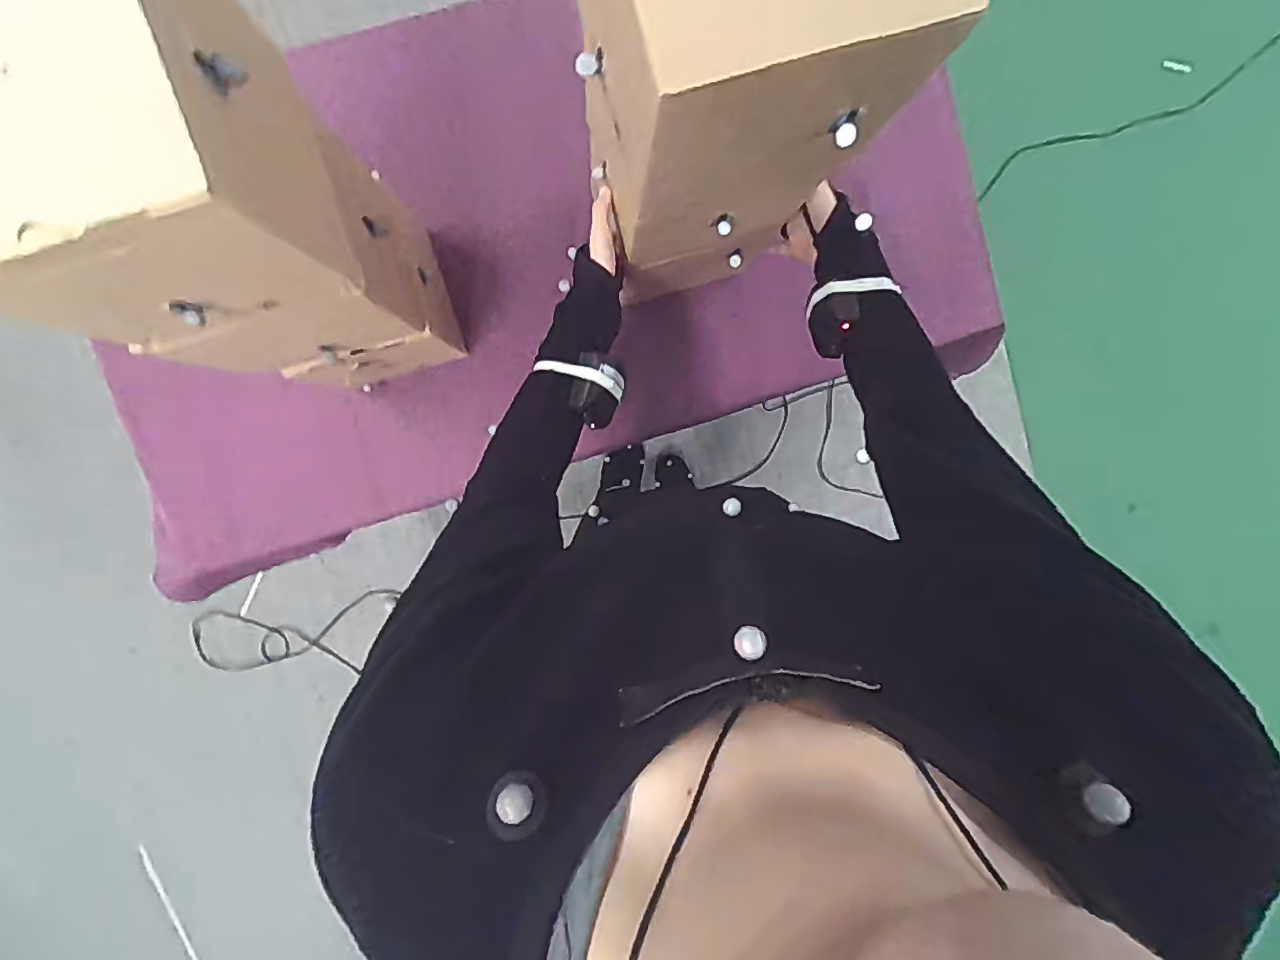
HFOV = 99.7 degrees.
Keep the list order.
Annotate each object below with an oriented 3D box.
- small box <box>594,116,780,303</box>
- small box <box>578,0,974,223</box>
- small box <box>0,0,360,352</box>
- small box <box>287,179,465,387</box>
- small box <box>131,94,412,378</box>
[{"bbox_3d":[0.046,-0.336,0.667,0.179,0.176,0.168,-17,96,-3],"label":"small box"},{"bbox_3d":[0.061,-0.293,0.342,0.179,0.176,0.168,-17,95,-2],"label":"small box"},{"bbox_3d":[-0.306,-0.192,0.324,0.168,0.176,0.179,-18,97,-2],"label":"small box"},{"bbox_3d":[-0.329,-0.217,0.650,0.168,0.176,0.179,-18,95,-3],"label":"small box"},{"bbox_3d":[-0.327,-0.198,0.486,0.179,0.176,0.168,-17,95,-4],"label":"small box"}]
